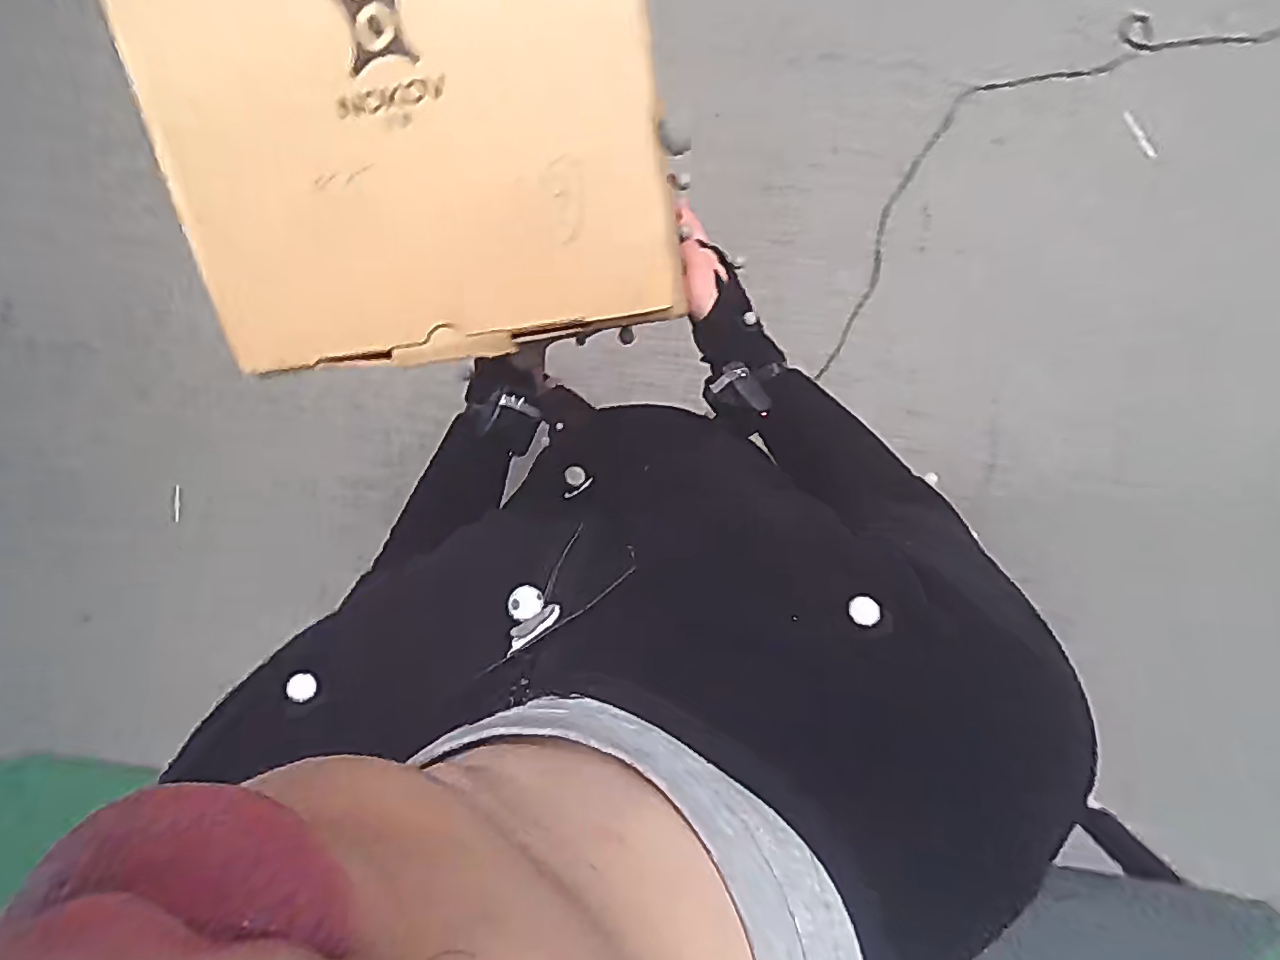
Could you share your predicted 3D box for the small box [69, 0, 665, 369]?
[{"bbox_3d":[-0.080,-0.155,0.236,0.168,0.176,0.179,-6,108,6],"label":"small box"}]
